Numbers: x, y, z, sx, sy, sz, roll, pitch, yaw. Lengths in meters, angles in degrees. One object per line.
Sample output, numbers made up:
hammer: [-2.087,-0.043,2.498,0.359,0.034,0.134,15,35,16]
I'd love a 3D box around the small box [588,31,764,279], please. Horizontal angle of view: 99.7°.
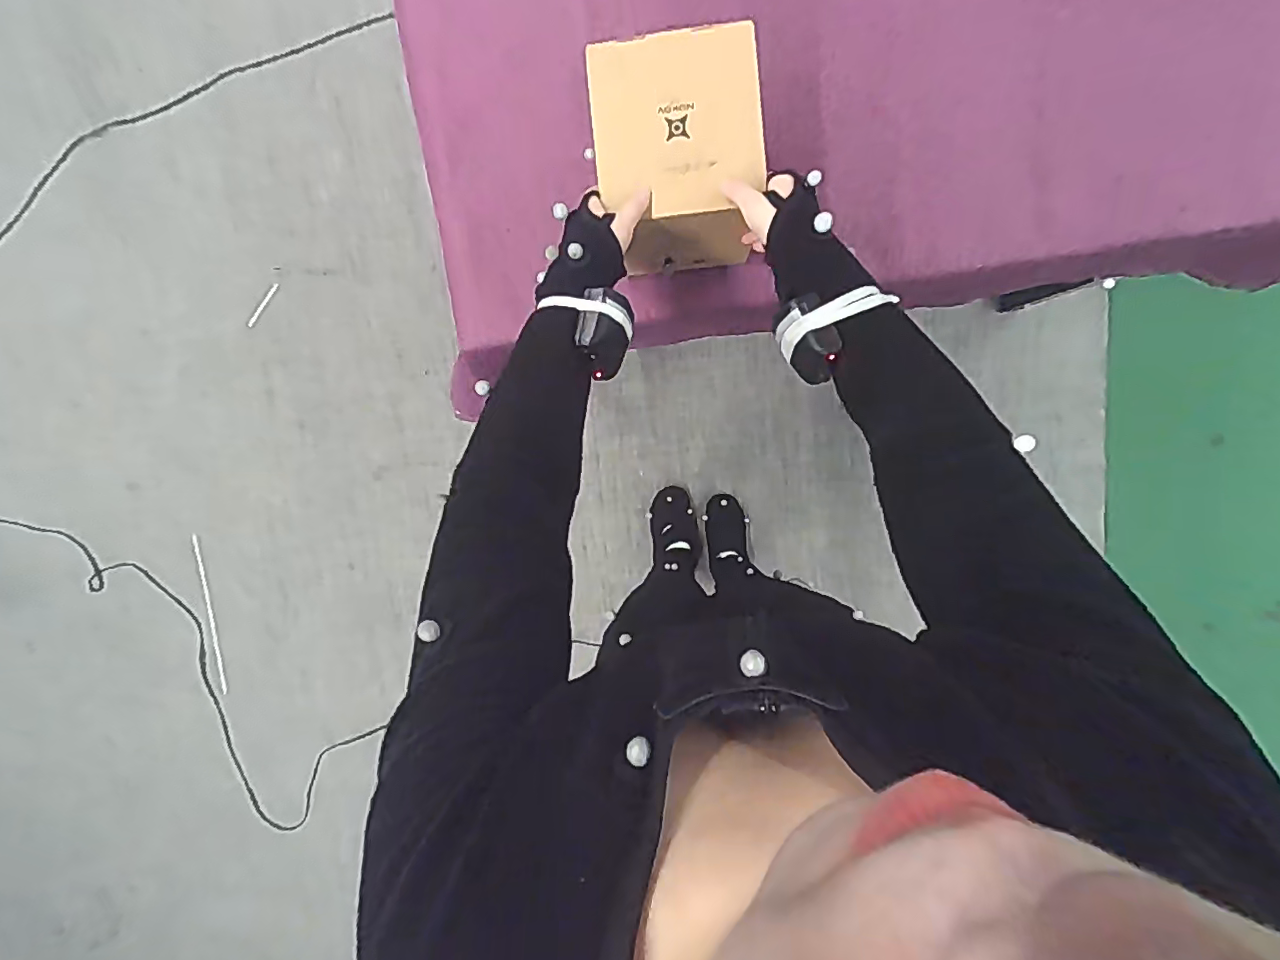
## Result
small box: [0.039,-0.347,0.610,0.168,0.176,0.179,-5,93,4]
